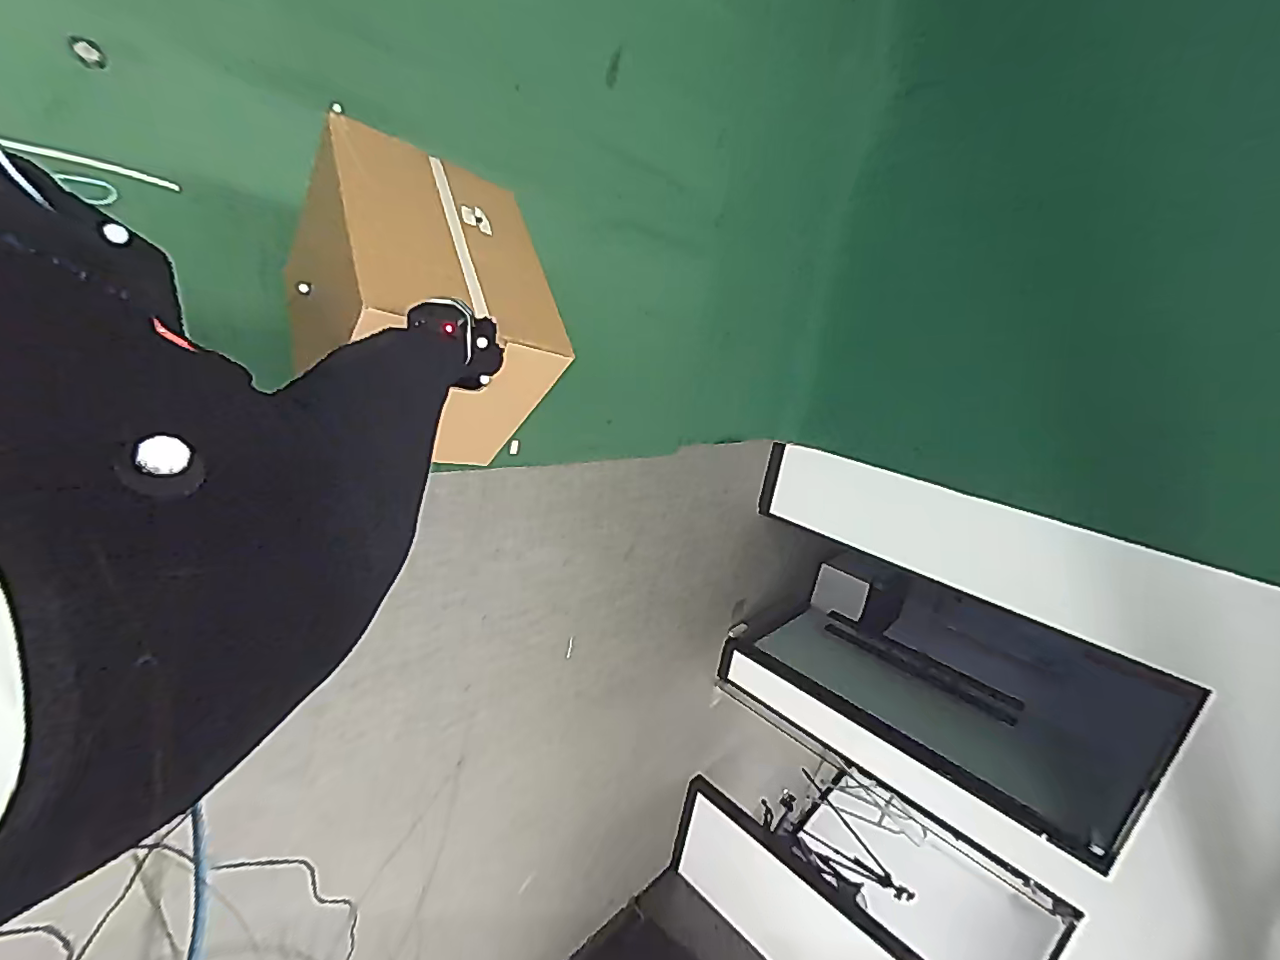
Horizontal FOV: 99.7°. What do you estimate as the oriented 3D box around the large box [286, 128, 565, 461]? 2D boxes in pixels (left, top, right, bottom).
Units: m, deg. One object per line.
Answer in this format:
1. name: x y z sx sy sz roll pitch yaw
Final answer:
1. large box: -0.385 -0.281 0.926 0.320 0.408 0.320 4 144 -44
